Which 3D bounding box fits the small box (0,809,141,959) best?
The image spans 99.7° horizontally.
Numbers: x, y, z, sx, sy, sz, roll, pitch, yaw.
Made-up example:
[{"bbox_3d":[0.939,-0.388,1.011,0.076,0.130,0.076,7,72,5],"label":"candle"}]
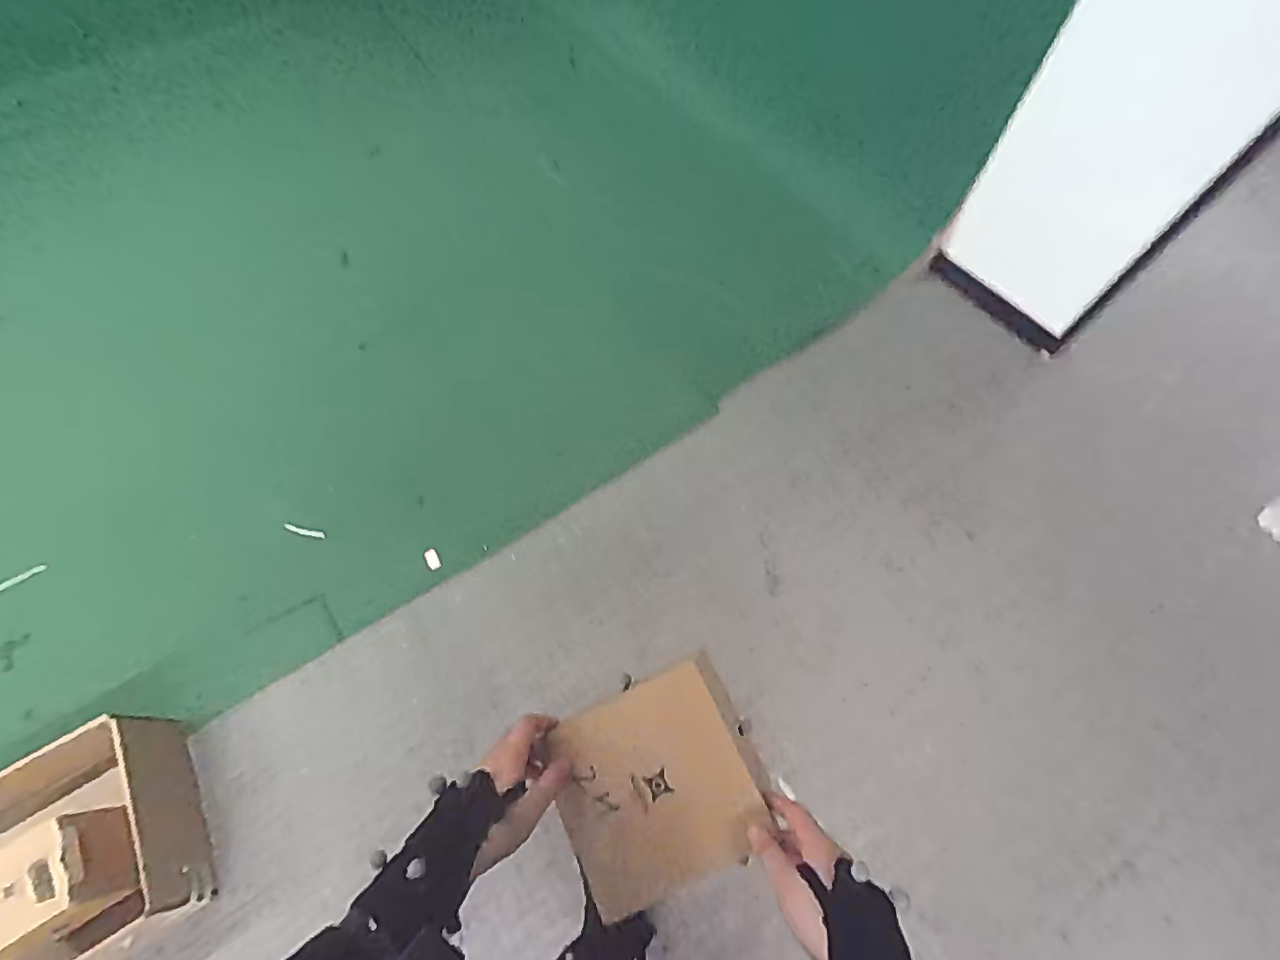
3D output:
[{"bbox_3d":[-1.094,0.752,1.015,0.179,0.176,0.168,-31,68,-12],"label":"small box"}]
